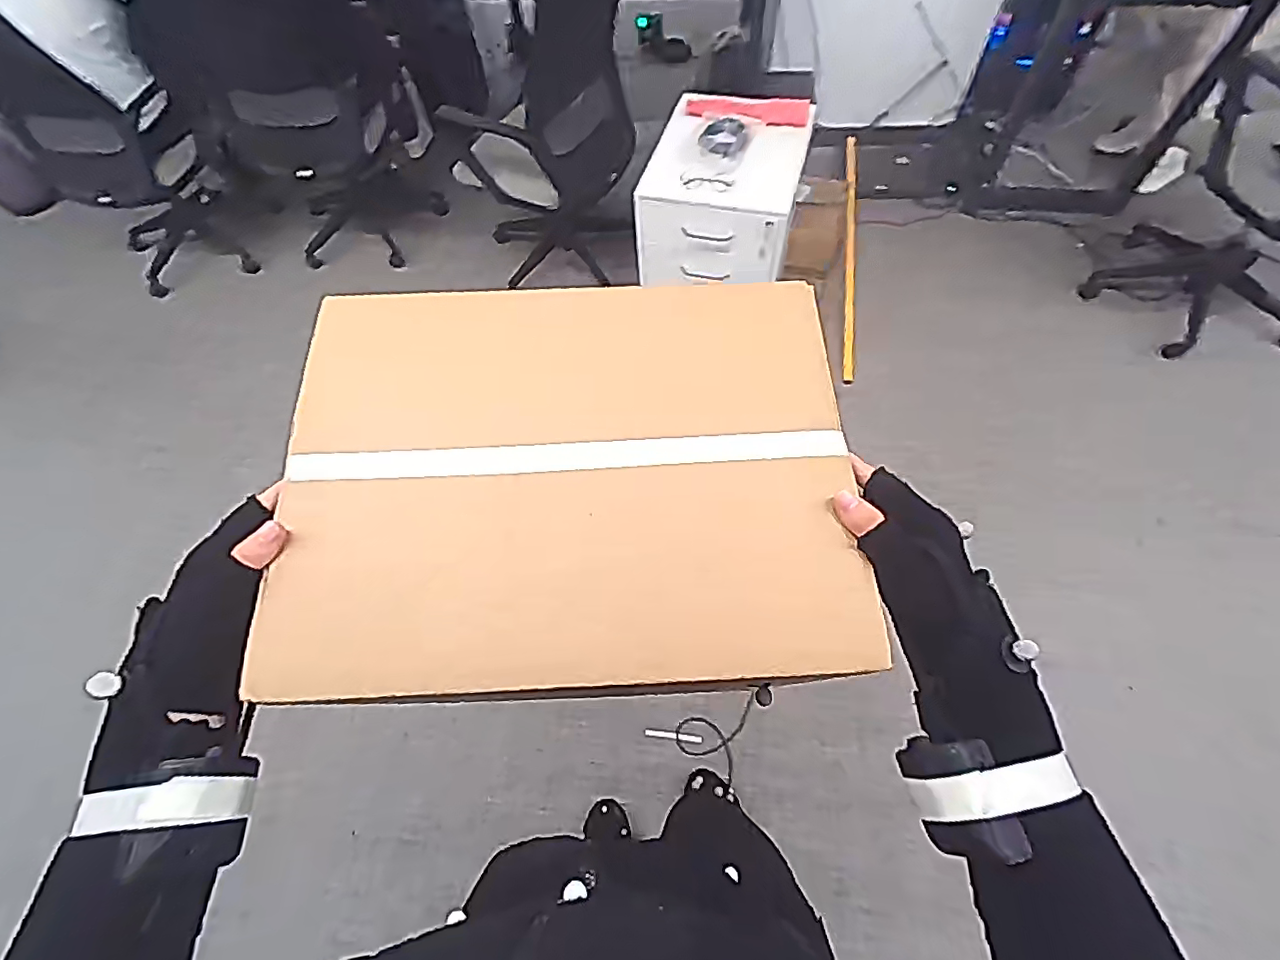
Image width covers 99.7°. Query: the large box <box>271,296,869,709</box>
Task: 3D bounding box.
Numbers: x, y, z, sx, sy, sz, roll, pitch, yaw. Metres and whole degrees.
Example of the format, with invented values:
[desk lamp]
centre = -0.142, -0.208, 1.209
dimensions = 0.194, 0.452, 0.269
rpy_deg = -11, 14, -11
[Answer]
[large box]
centre = -0.051, 0.048, 0.547
dimensions = 0.408, 0.320, 0.320
rpy_deg = -3, 67, -2
